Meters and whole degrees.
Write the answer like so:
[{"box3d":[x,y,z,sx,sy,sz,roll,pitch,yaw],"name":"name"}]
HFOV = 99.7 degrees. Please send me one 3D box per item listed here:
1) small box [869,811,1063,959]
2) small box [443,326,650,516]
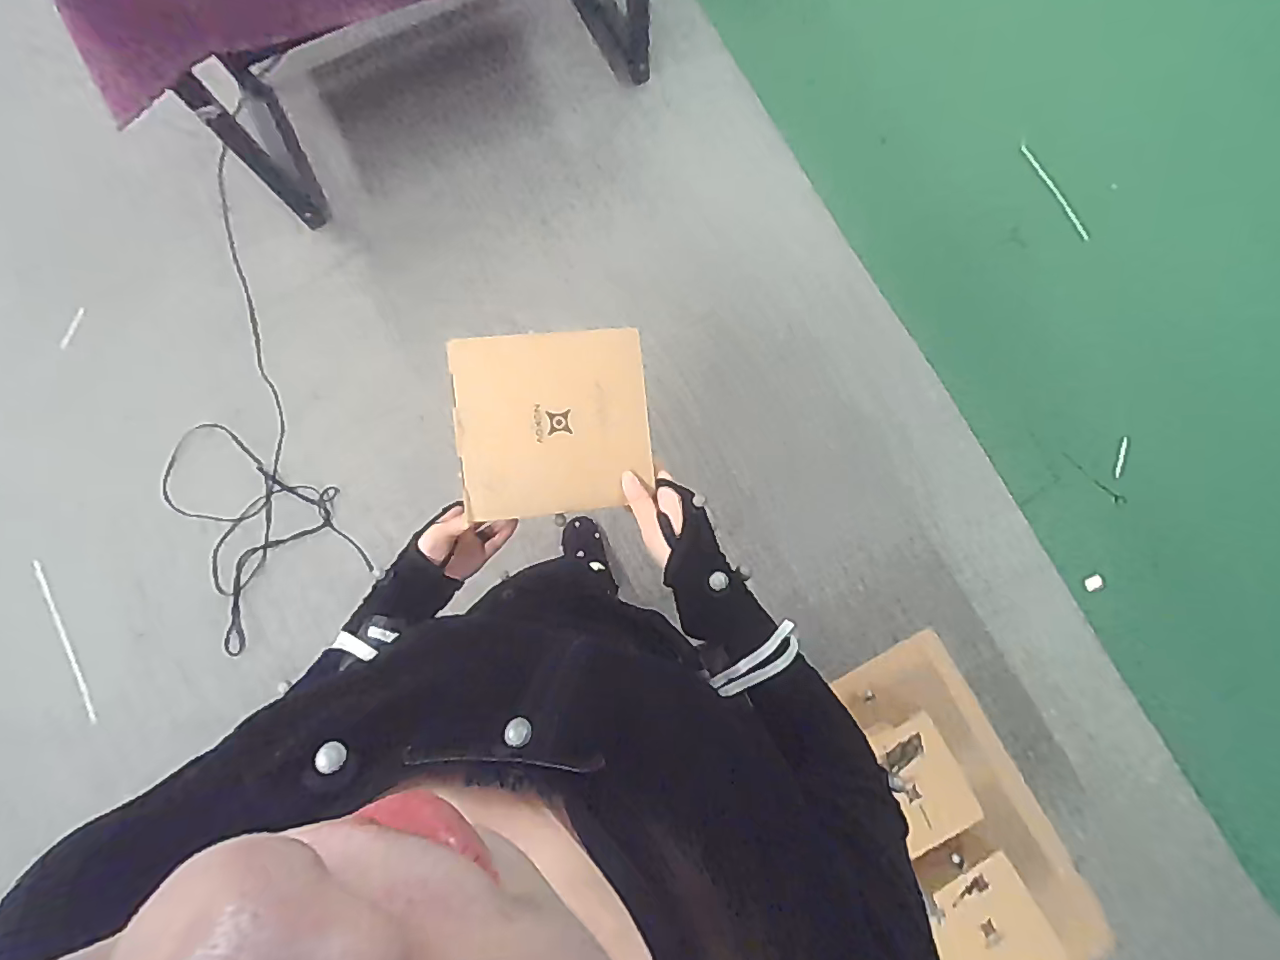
[{"box3d":[0.509,0.683,0.866,0.168,0.176,0.179,-29,83,-5],"name":"small box"},{"box3d":[-0.094,-0.053,0.570,0.179,0.176,0.168,-6,91,-9],"name":"small box"}]
